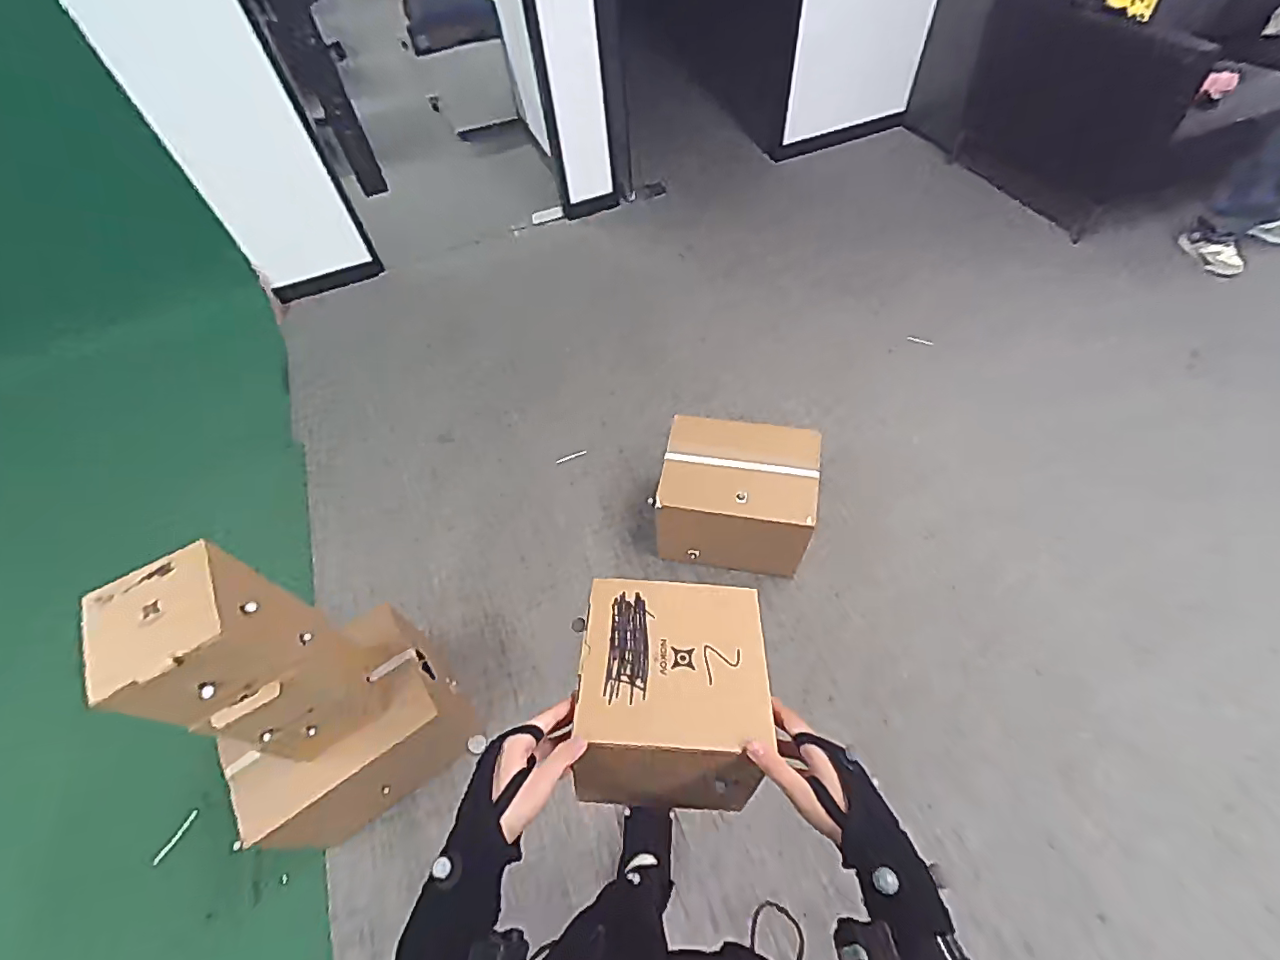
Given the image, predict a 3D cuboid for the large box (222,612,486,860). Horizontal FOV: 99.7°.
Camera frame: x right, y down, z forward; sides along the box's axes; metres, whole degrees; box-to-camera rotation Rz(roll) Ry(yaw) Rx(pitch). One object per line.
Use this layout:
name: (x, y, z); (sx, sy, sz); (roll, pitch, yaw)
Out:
large box: (-0.643, 0.591, 1.261); (0.408, 0.320, 0.320); (-34, 58, -16)

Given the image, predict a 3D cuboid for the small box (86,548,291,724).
small box: (-0.660, 0.240, 0.807); (0.168, 0.176, 0.179); (-29, 60, -16)

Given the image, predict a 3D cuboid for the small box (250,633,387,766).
small box: (-0.639, 0.436, 1.069); (0.179, 0.176, 0.168); (-30, 59, -16)

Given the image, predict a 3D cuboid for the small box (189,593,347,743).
small box: (-0.644, 0.334, 0.941); (0.168, 0.176, 0.179); (-28, 58, -15)
